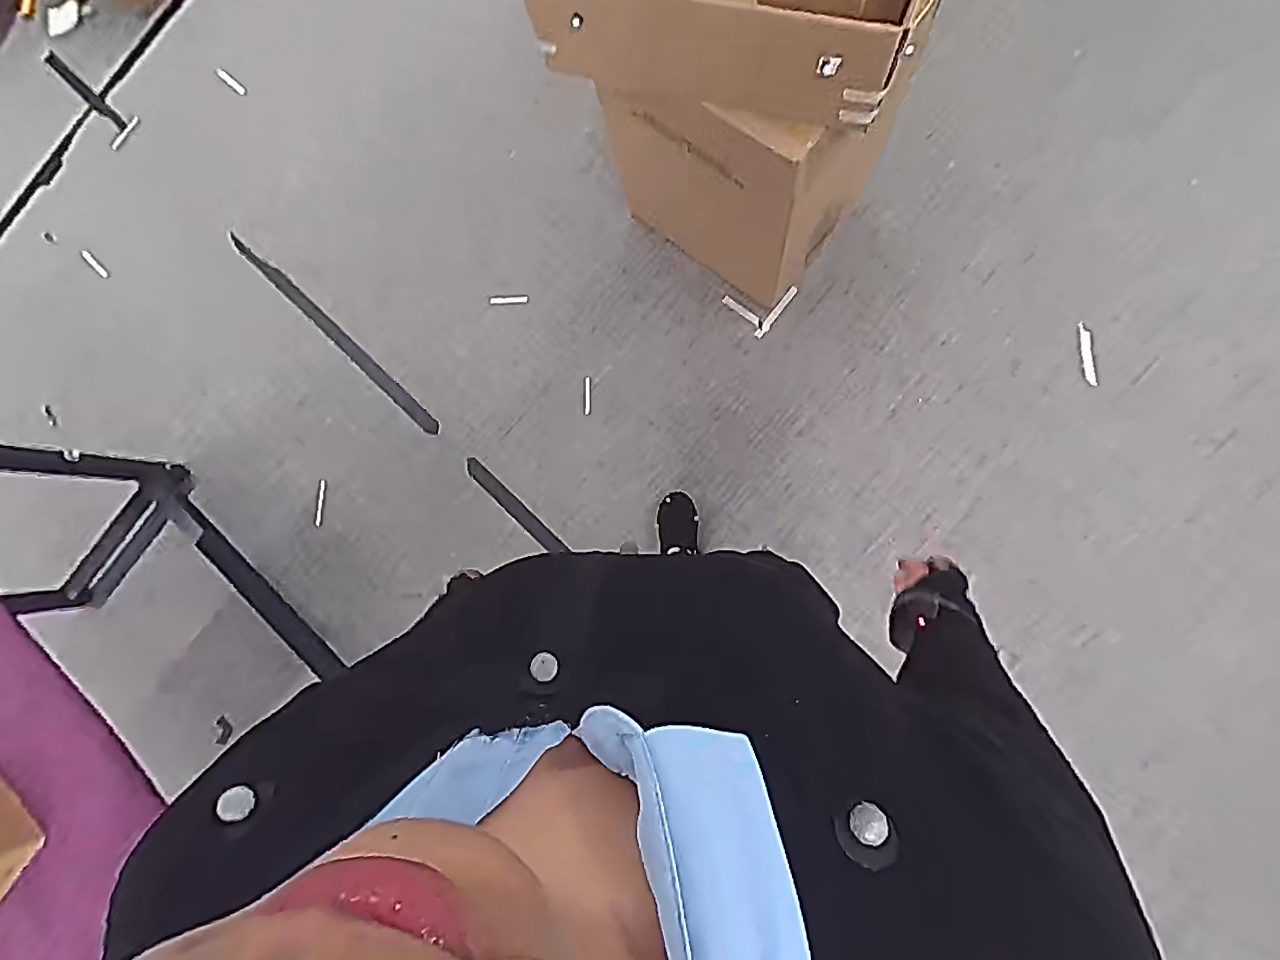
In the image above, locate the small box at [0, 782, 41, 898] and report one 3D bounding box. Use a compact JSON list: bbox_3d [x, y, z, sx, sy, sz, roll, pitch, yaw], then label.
[{"bbox_3d":[-1.091,0.593,0.819,0.179,0.176,0.168,37,91,11],"label":"small box"}]
